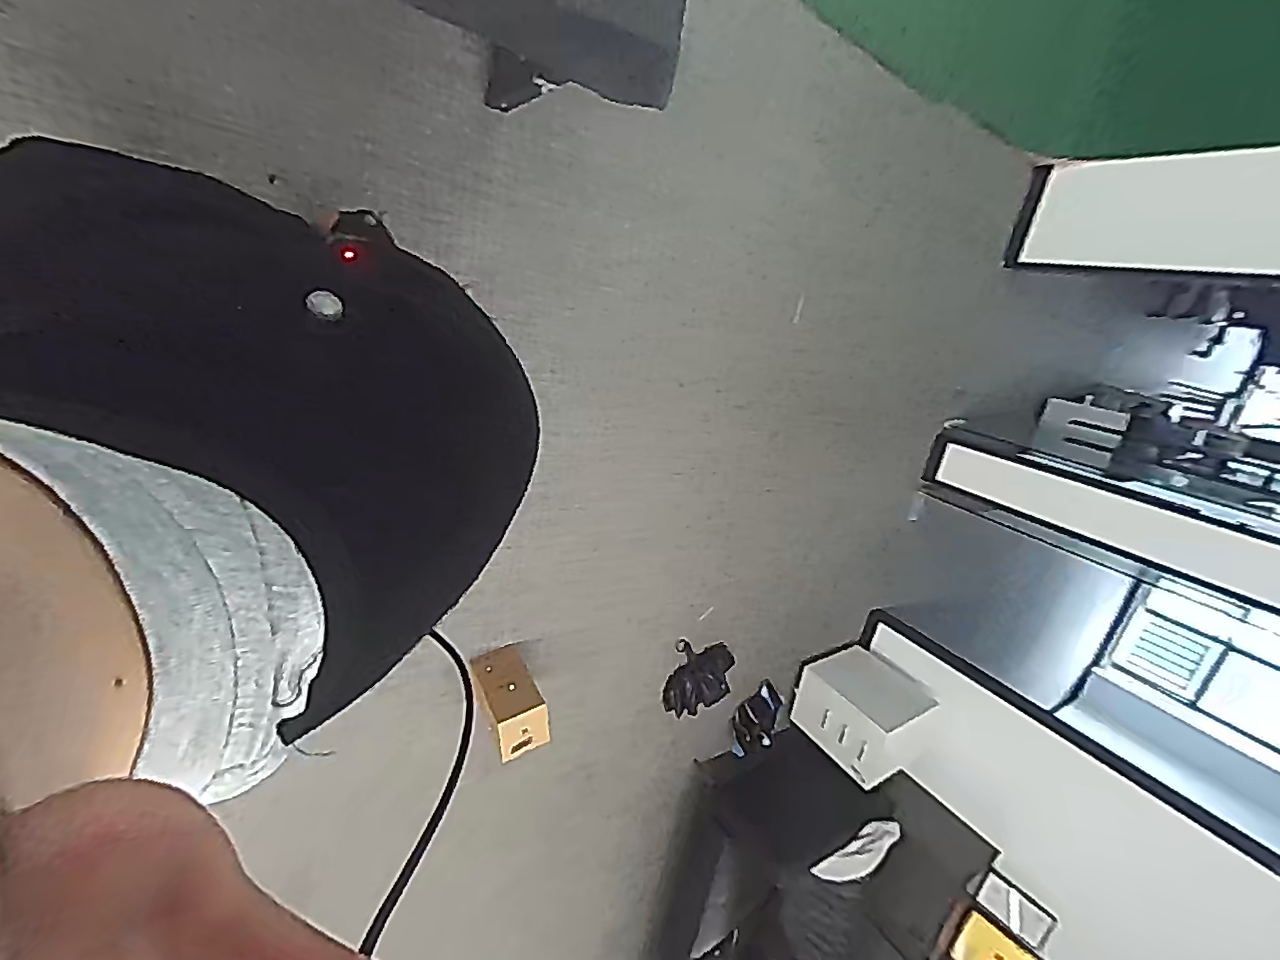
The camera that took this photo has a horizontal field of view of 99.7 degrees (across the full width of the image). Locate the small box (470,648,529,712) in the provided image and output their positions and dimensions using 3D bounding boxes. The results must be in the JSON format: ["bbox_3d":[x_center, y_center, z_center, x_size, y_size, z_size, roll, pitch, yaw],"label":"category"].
[{"bbox_3d":[-0.500,0.728,1.932,0.168,0.176,0.179,-14,121,-28],"label":"small box"}]

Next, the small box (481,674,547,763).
[{"bbox_3d":[-0.419,0.788,1.802,0.168,0.176,0.179,-14,118,-29],"label":"small box"}]
